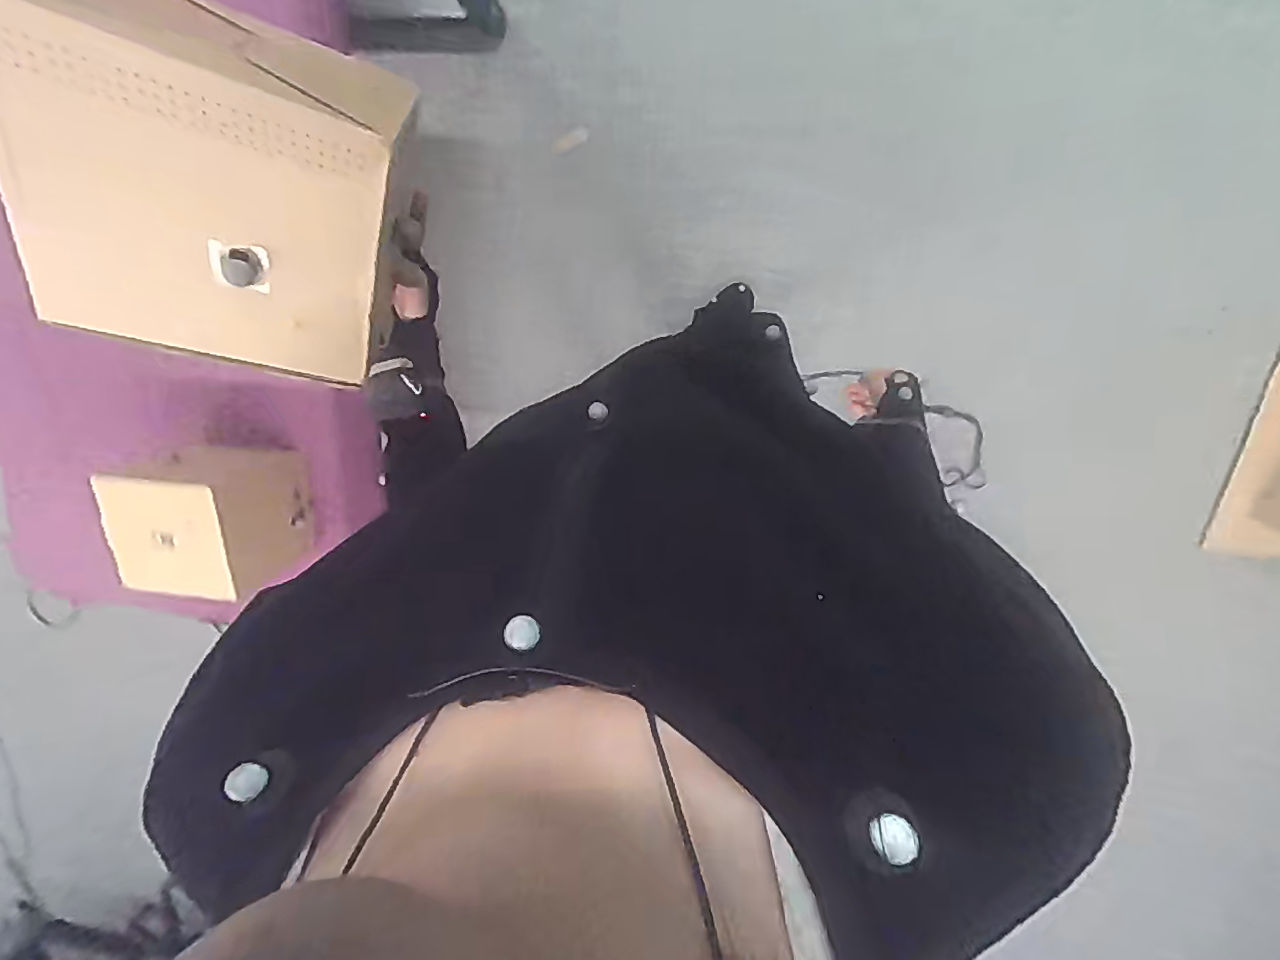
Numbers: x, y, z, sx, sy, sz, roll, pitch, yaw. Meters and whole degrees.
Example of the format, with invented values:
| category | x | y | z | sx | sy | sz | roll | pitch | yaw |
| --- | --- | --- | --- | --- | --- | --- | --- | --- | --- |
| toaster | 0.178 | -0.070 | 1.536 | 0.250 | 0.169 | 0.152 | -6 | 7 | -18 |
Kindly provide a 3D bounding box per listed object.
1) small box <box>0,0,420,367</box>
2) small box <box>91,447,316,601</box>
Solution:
| category | x | y | z | sx | sy | sz | roll | pitch | yaw |
| --- | --- | --- | --- | --- | --- | --- | --- | --- | --- |
| small box | -0.246 | -0.204 | 0.349 | 0.179 | 0.168 | 0.176 | 10 | 130 | -23 |
| small box | -0.613 | 0.054 | 0.783 | 0.179 | 0.176 | 0.168 | 5 | 109 | 6 |
